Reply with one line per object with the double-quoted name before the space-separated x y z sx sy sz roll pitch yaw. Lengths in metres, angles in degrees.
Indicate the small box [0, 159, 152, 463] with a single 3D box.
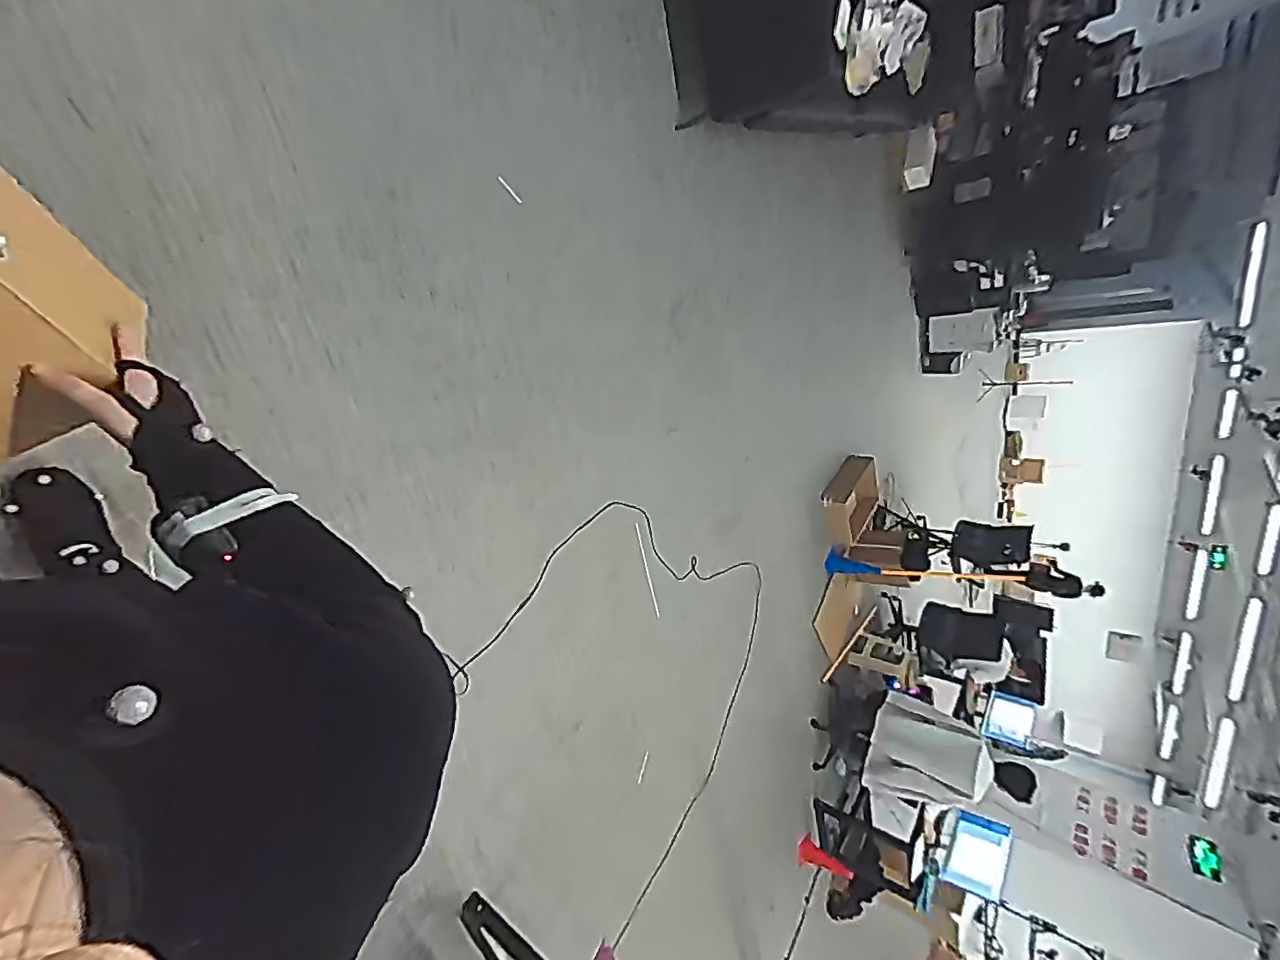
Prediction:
"small box" -0.553 -0.141 0.444 0.168 0.176 0.179 -29 144 -9
